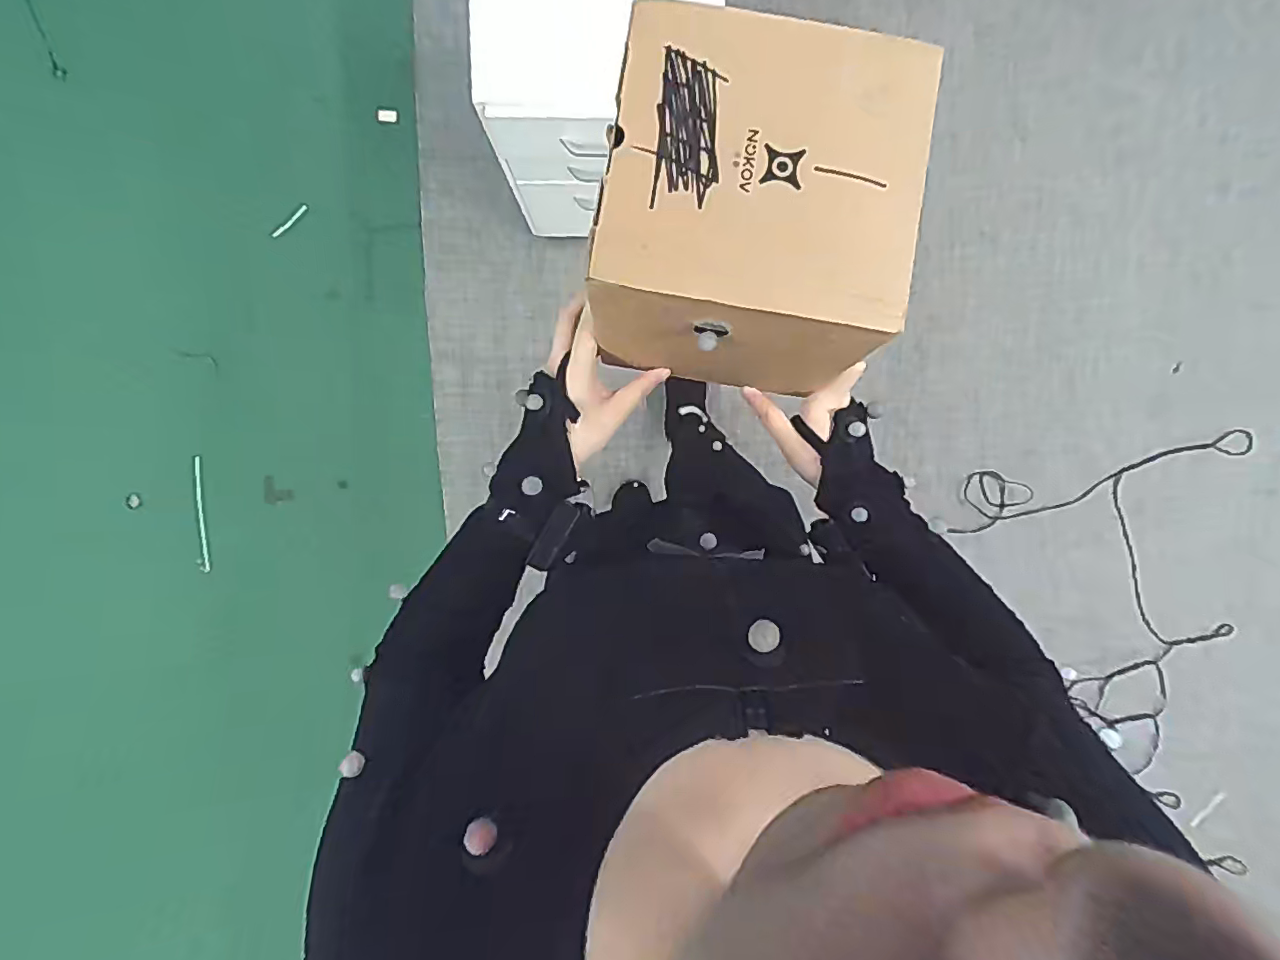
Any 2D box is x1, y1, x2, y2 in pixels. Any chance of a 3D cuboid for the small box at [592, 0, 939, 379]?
[{"bbox_3d":[0.070,-0.179,0.381,0.179,0.176,0.168,10,87,-1],"label":"small box"}]
